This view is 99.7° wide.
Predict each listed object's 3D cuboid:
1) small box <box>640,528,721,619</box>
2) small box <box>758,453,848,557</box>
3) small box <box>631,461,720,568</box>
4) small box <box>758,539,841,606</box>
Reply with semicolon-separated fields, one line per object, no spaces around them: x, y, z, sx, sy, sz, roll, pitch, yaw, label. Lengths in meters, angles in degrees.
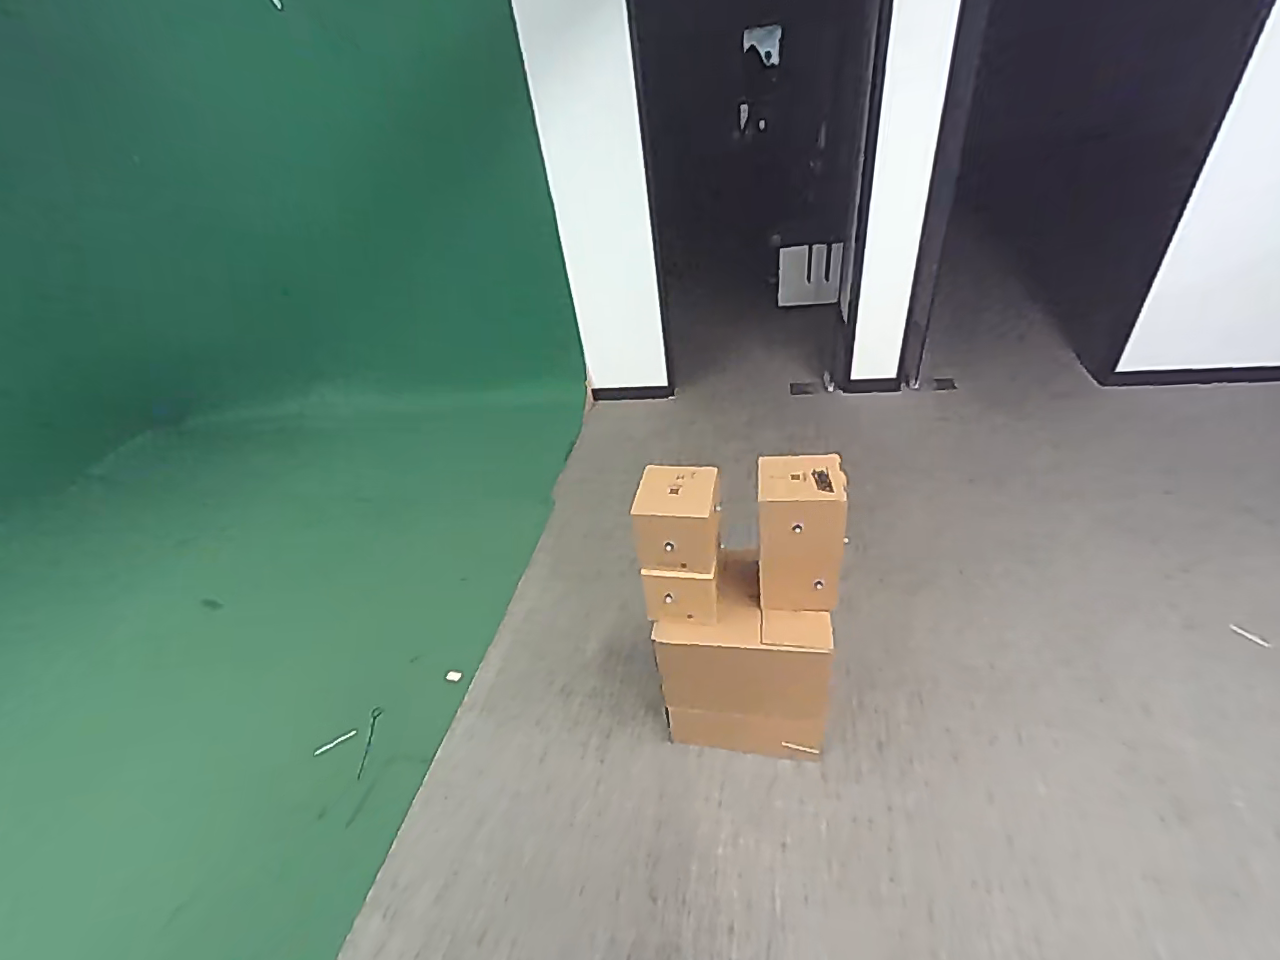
0.105;0.215;1.304;0.168;0.176;0.179;2;38;13;small box
0.353;0.055;1.193;0.179;0.176;0.168;-1;37;14;small box
0.088;0.077;1.215;0.168;0.176;0.179;4;39;14;small box
0.373;0.185;1.291;0.179;0.176;0.168;-1;37;13;small box
